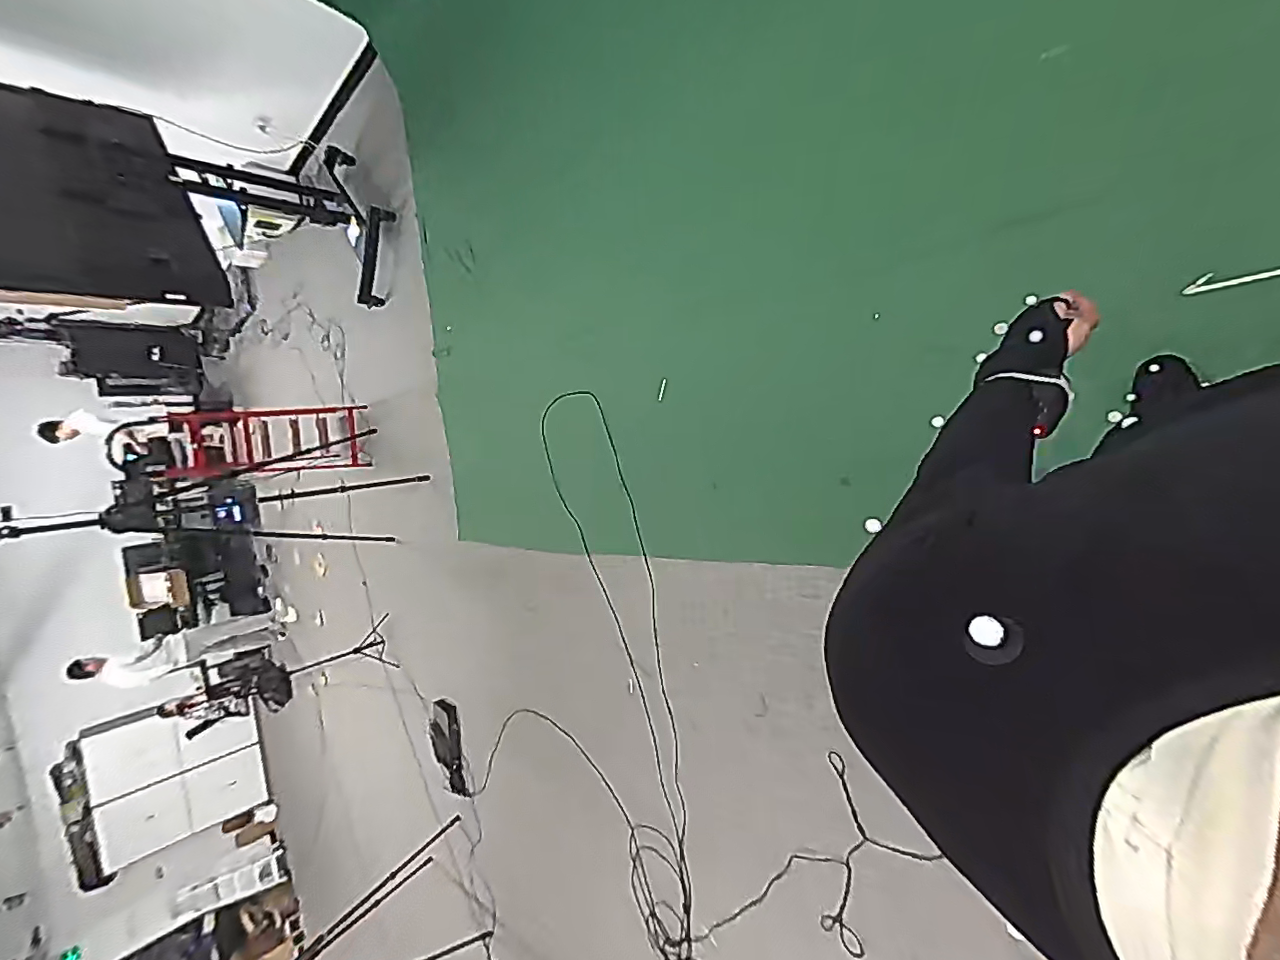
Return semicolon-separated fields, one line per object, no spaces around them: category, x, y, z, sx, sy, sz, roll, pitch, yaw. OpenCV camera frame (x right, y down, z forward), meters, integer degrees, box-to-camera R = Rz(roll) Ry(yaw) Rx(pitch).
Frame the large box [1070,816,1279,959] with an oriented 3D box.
large box;1.205;1.034;1.146;0.408;0.320;0.320;20;111;38
